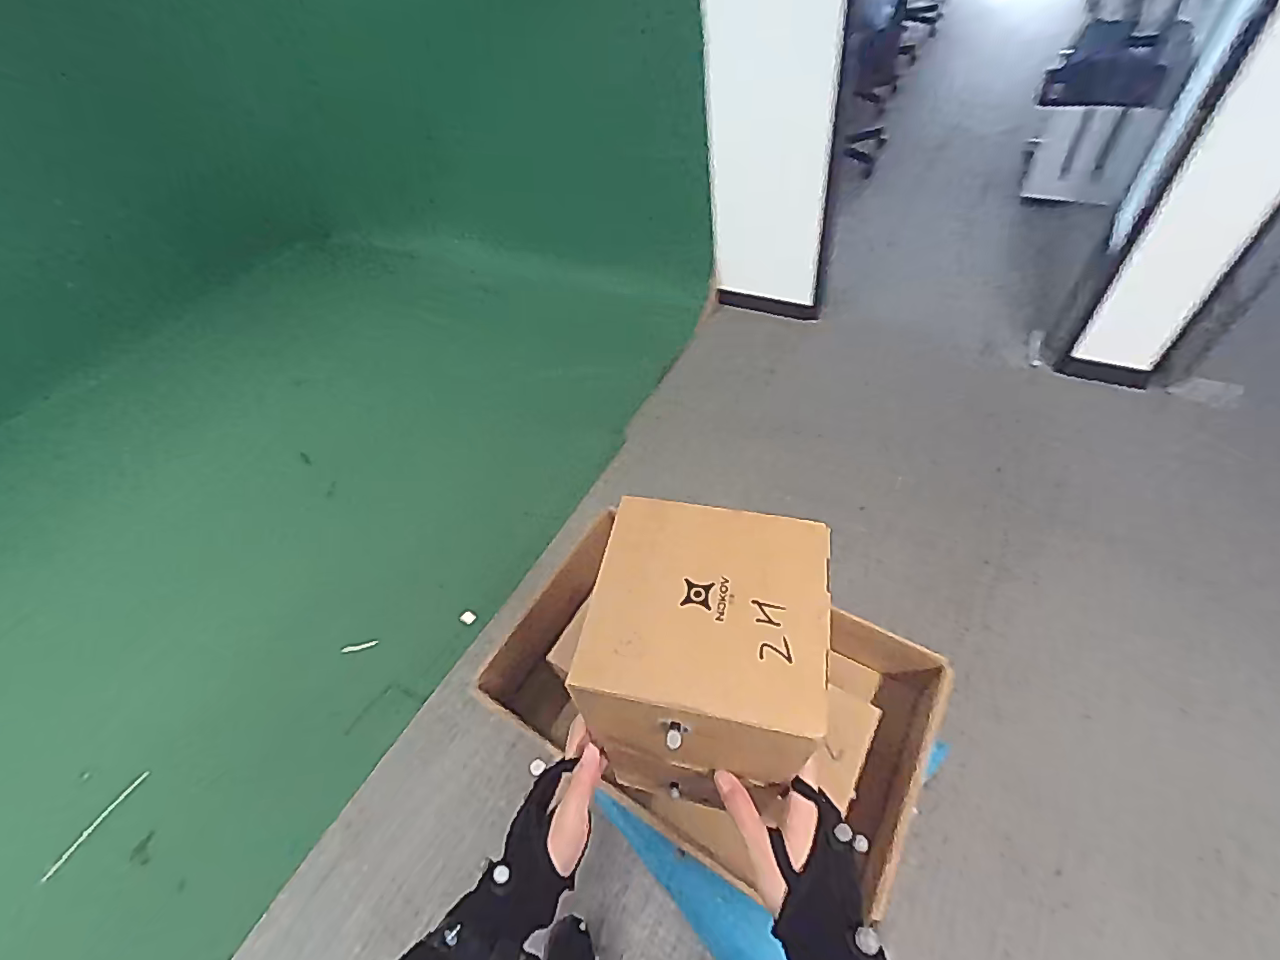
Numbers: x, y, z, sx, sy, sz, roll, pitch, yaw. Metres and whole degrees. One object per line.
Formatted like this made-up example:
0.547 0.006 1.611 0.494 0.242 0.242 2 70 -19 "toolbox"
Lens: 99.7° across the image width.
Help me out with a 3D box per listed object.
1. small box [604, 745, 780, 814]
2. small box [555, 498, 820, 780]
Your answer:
0.063 0.239 0.592 0.168 0.176 0.179 8 52 10 "small box"
0.048 0.138 0.463 0.179 0.176 0.168 8 53 10 "small box"
